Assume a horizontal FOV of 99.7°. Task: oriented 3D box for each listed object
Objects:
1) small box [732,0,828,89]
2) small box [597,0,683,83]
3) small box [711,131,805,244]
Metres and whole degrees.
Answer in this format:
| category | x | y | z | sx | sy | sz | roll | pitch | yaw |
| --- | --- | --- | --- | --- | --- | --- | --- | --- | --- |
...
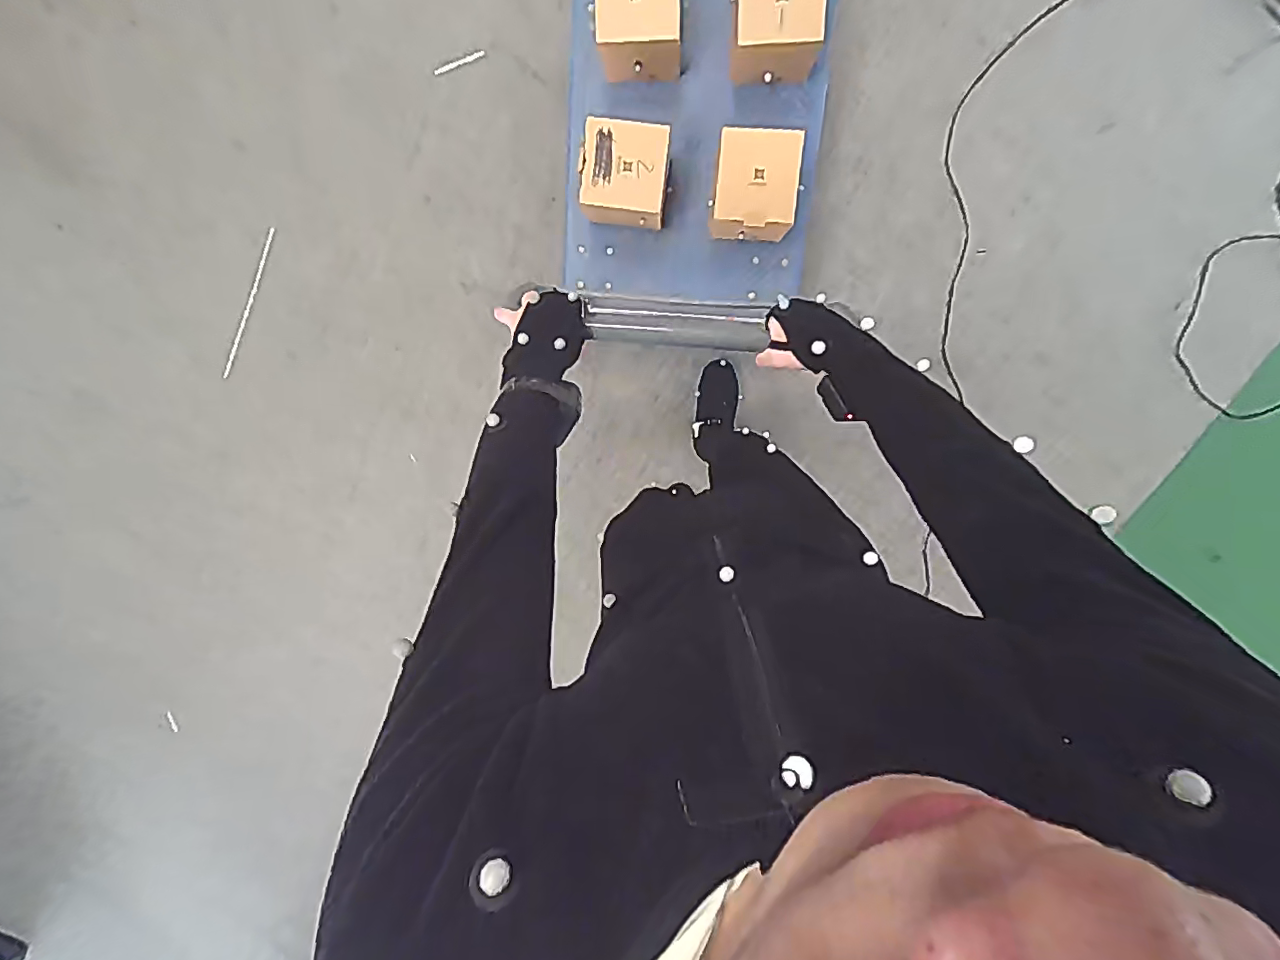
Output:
| category | x | y | z | sx | sy | sz | roll | pitch | yaw |
| --- | --- | --- | --- | --- | --- | --- | --- | --- | --- |
| small box | 0.279 | -0.934 | 1.100 | 0.168 | 0.176 | 0.179 | 1 | 105 | 4 |
| small box | 0.004 | -0.951 | 1.114 | 0.168 | 0.176 | 0.179 | 1 | 104 | 3 |
| small box | 0.248 | -0.627 | 1.178 | 0.168 | 0.176 | 0.179 | 4 | 104 | 3 |
